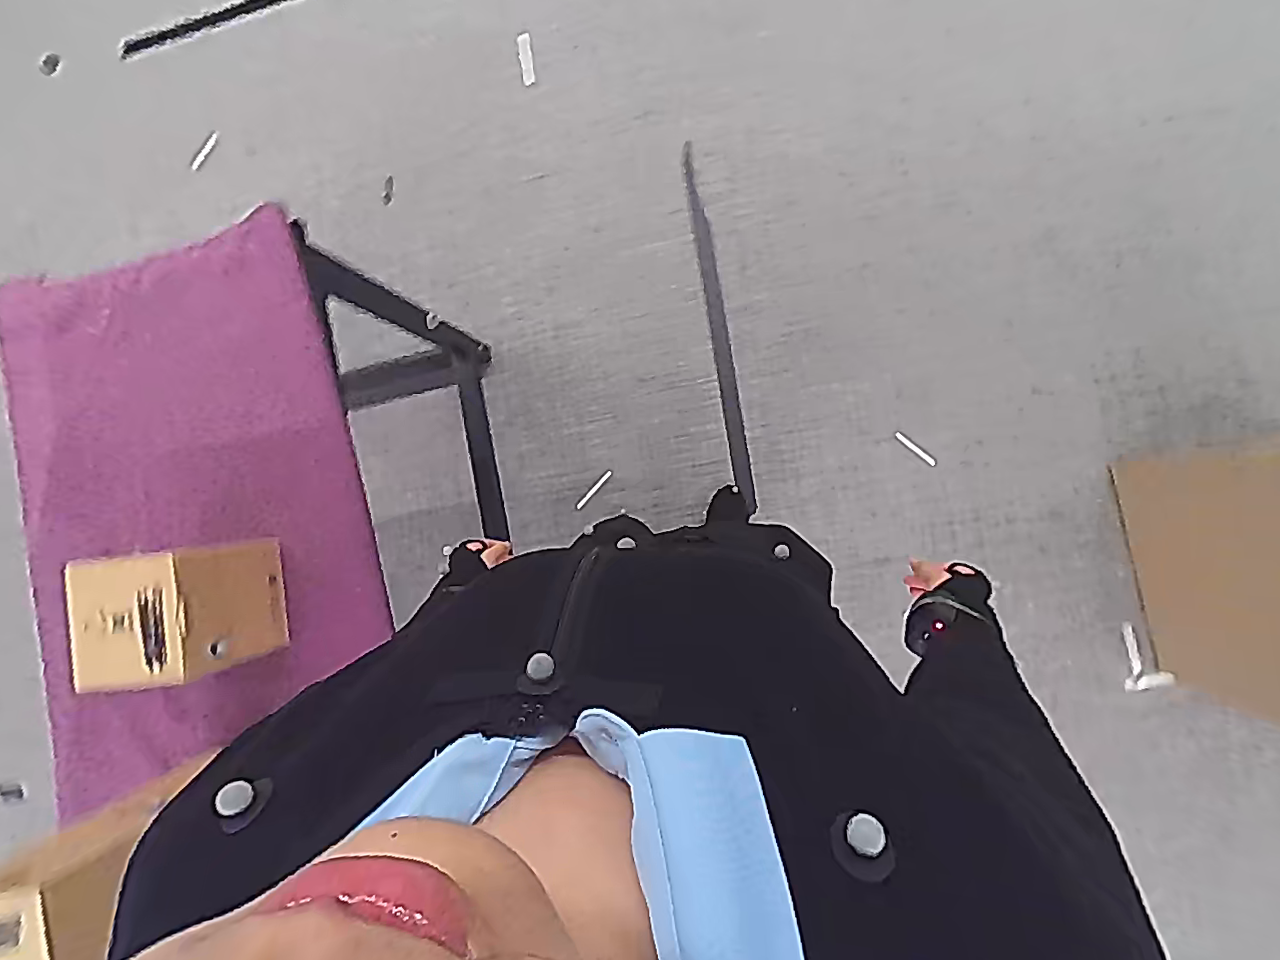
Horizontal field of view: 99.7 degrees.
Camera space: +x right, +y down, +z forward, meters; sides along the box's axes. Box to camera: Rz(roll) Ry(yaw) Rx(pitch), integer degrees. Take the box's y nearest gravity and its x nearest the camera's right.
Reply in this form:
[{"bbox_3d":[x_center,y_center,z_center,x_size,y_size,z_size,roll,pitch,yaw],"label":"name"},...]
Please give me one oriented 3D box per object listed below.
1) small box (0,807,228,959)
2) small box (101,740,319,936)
[{"bbox_3d":[-0.614,0.497,0.605,0.168,0.176,0.179,-14,87,8],"label":"small box"},{"bbox_3d":[-0.594,0.503,0.768,0.168,0.176,0.179,-14,86,8],"label":"small box"}]
